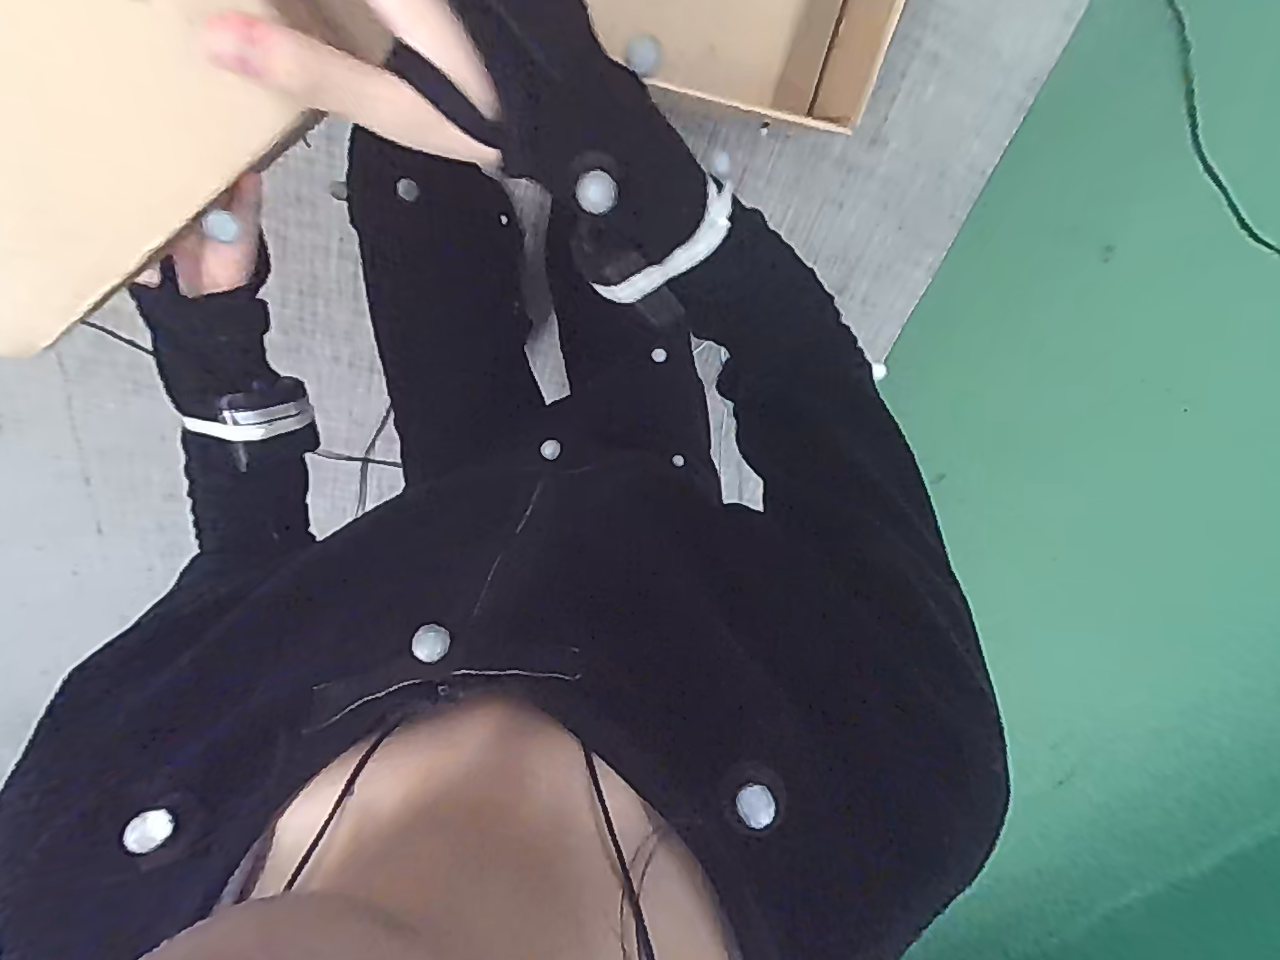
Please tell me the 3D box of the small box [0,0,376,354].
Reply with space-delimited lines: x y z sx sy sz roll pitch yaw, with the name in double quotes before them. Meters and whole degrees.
"small box" -0.229 -0.187 0.200 0.179 0.176 0.168 -31 132 12
